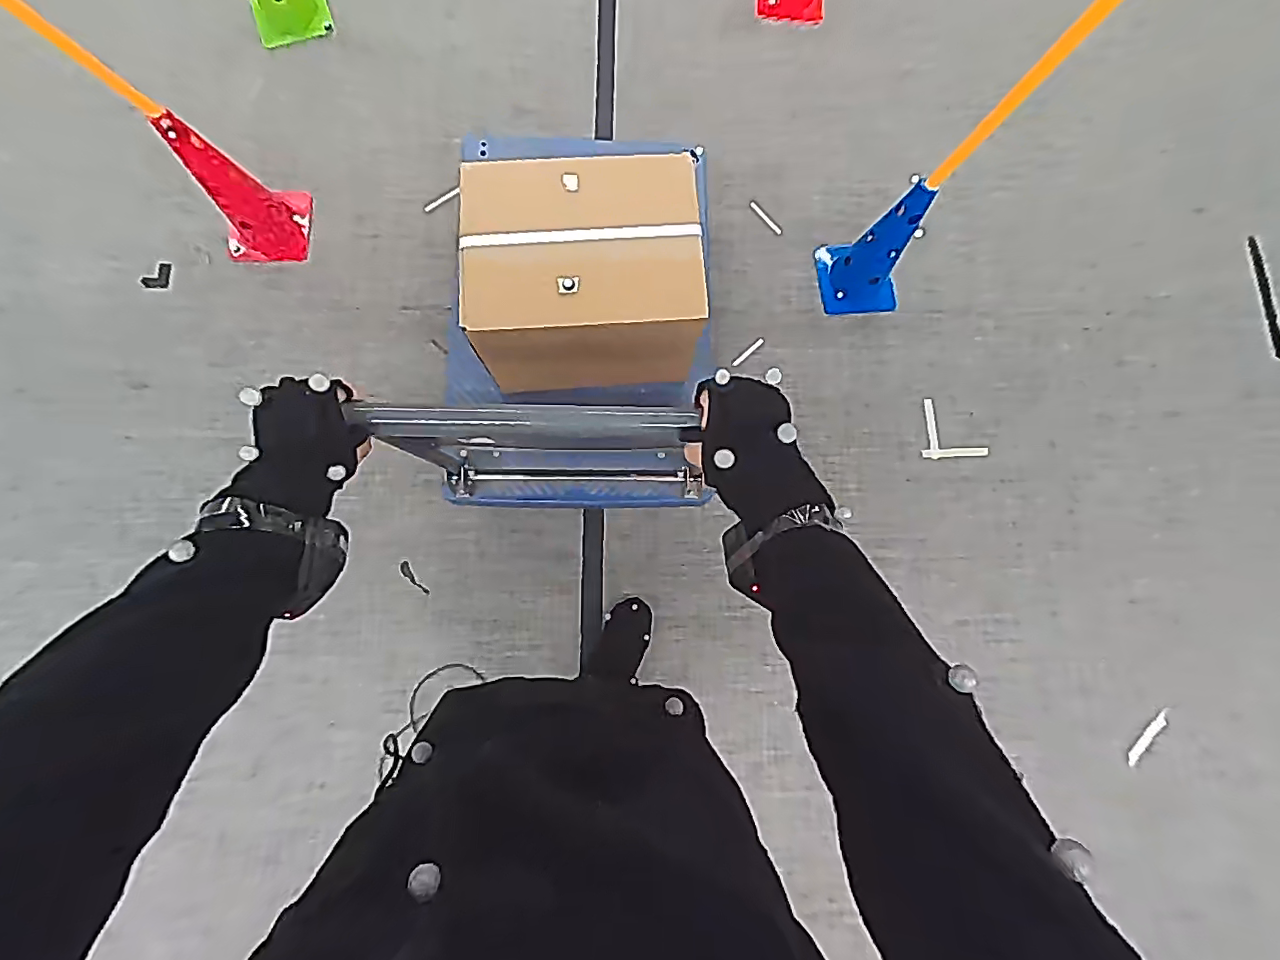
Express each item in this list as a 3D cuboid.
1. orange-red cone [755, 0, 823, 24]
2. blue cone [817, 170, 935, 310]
[{"bbox_3d":[0.454,-1.469,1.431,0.199,0.360,0.198,7,80,-2],"label":"orange-red cone"},{"bbox_3d":[0.586,-0.578,1.294,0.193,0.380,0.192,-4,79,-3],"label":"blue cone"}]
